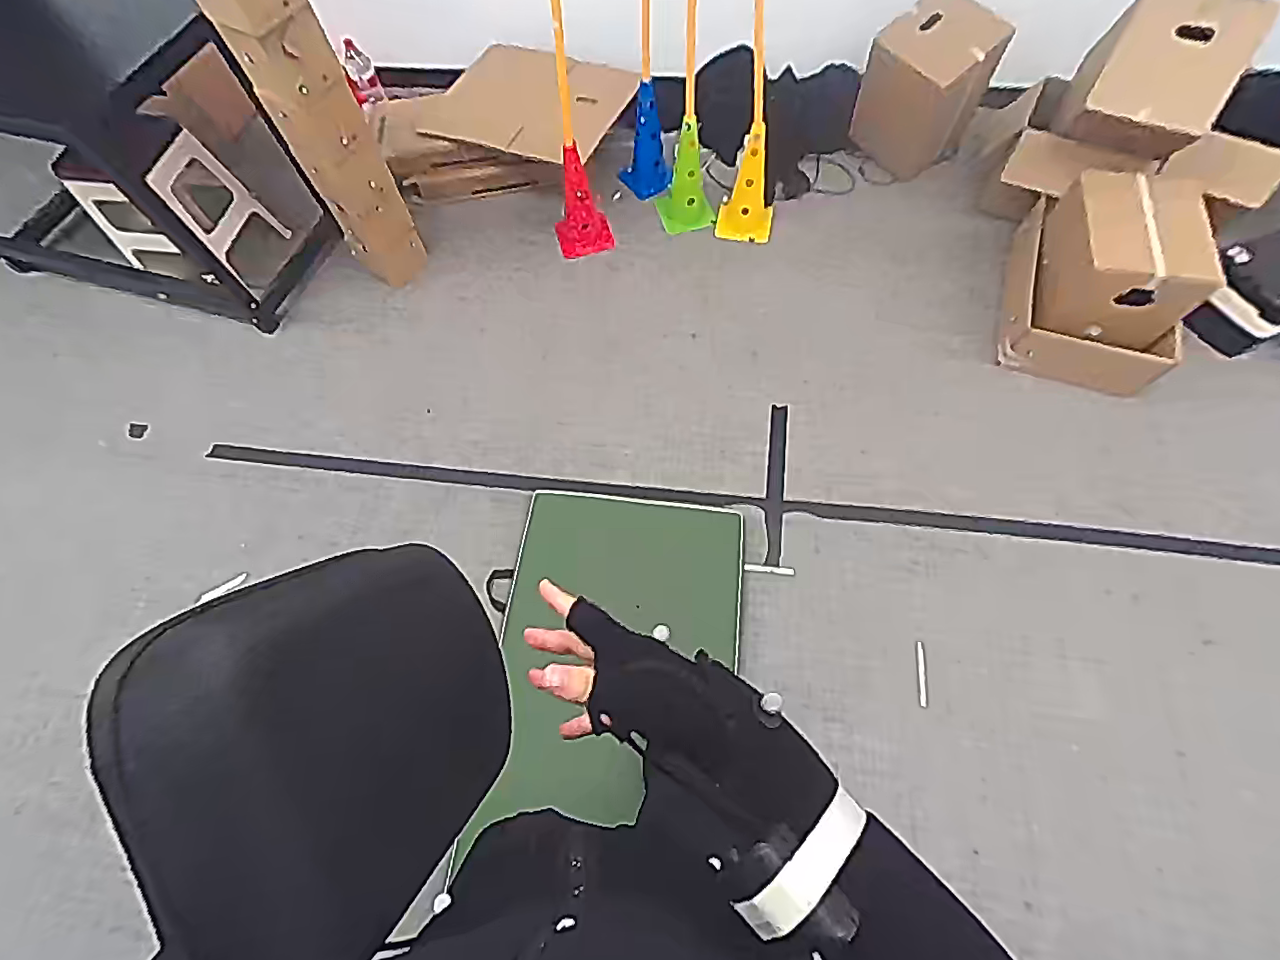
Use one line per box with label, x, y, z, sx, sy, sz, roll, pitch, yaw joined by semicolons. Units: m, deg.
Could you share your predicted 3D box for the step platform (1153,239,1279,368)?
step platform;2.066;-0.607;1.725;0.684;0.204;0.286;-20;66;-7
